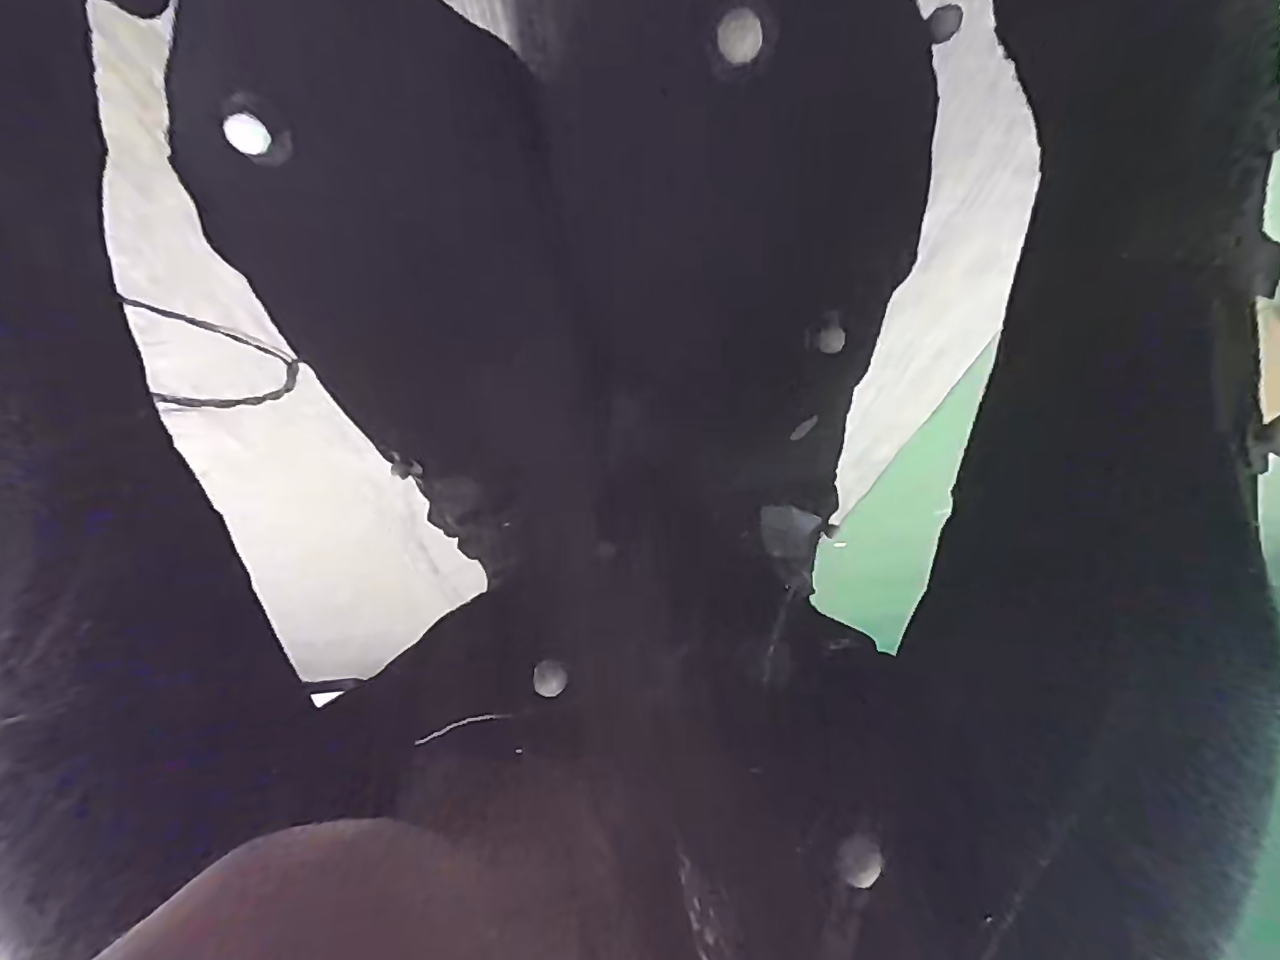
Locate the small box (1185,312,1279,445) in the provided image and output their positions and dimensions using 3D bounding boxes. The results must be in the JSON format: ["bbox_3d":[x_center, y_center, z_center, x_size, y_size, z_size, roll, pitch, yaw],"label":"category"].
[{"bbox_3d":[1.128,-0.181,0.937,0.179,0.176,0.168,-6,154,0],"label":"small box"}]
